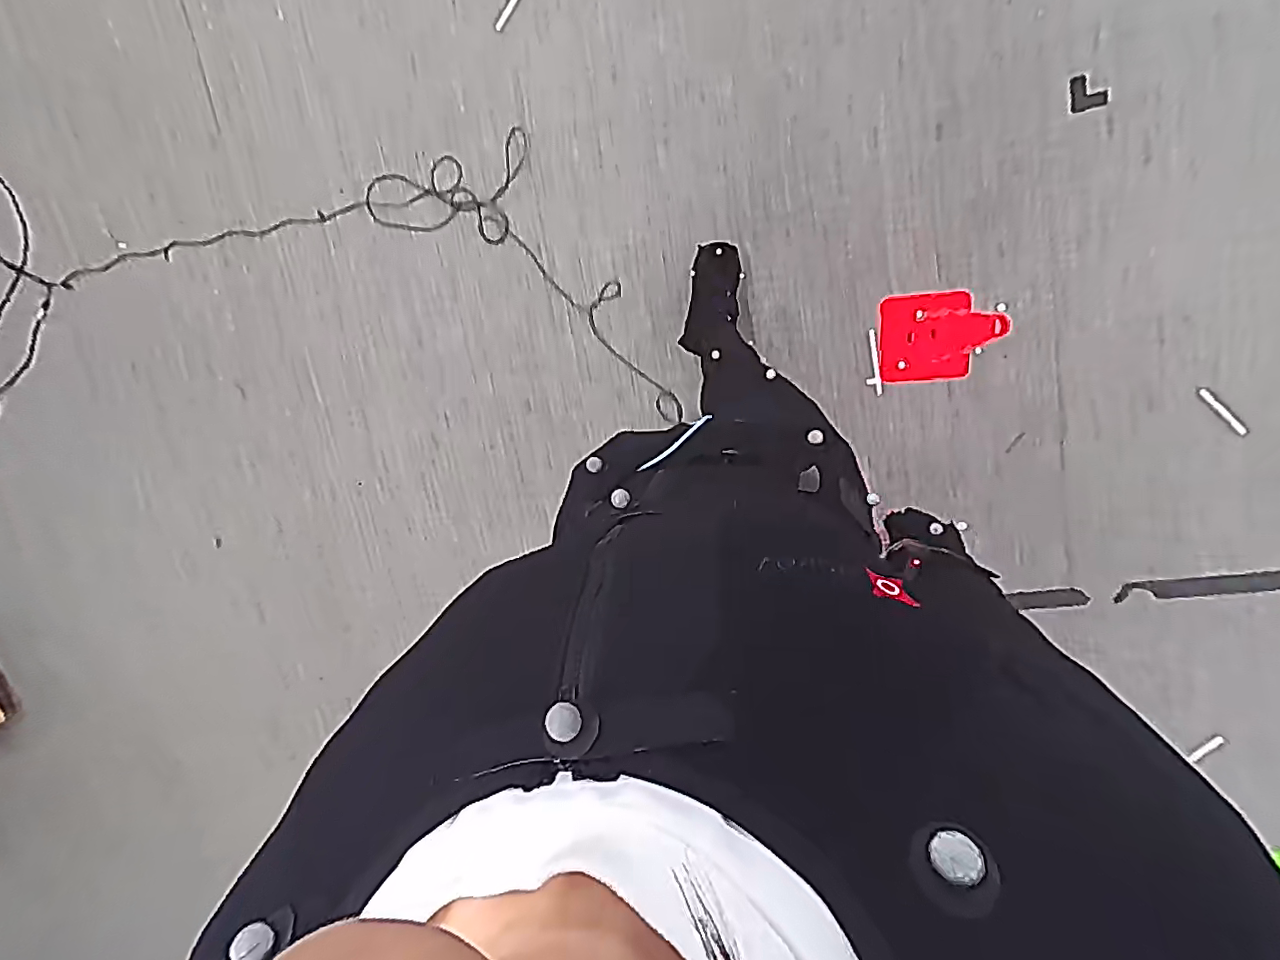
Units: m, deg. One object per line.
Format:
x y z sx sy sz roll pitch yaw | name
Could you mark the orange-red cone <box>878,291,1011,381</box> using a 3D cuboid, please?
0.637 -0.296 1.087 0.199 0.360 0.198 -1 101 8 | orange-red cone
